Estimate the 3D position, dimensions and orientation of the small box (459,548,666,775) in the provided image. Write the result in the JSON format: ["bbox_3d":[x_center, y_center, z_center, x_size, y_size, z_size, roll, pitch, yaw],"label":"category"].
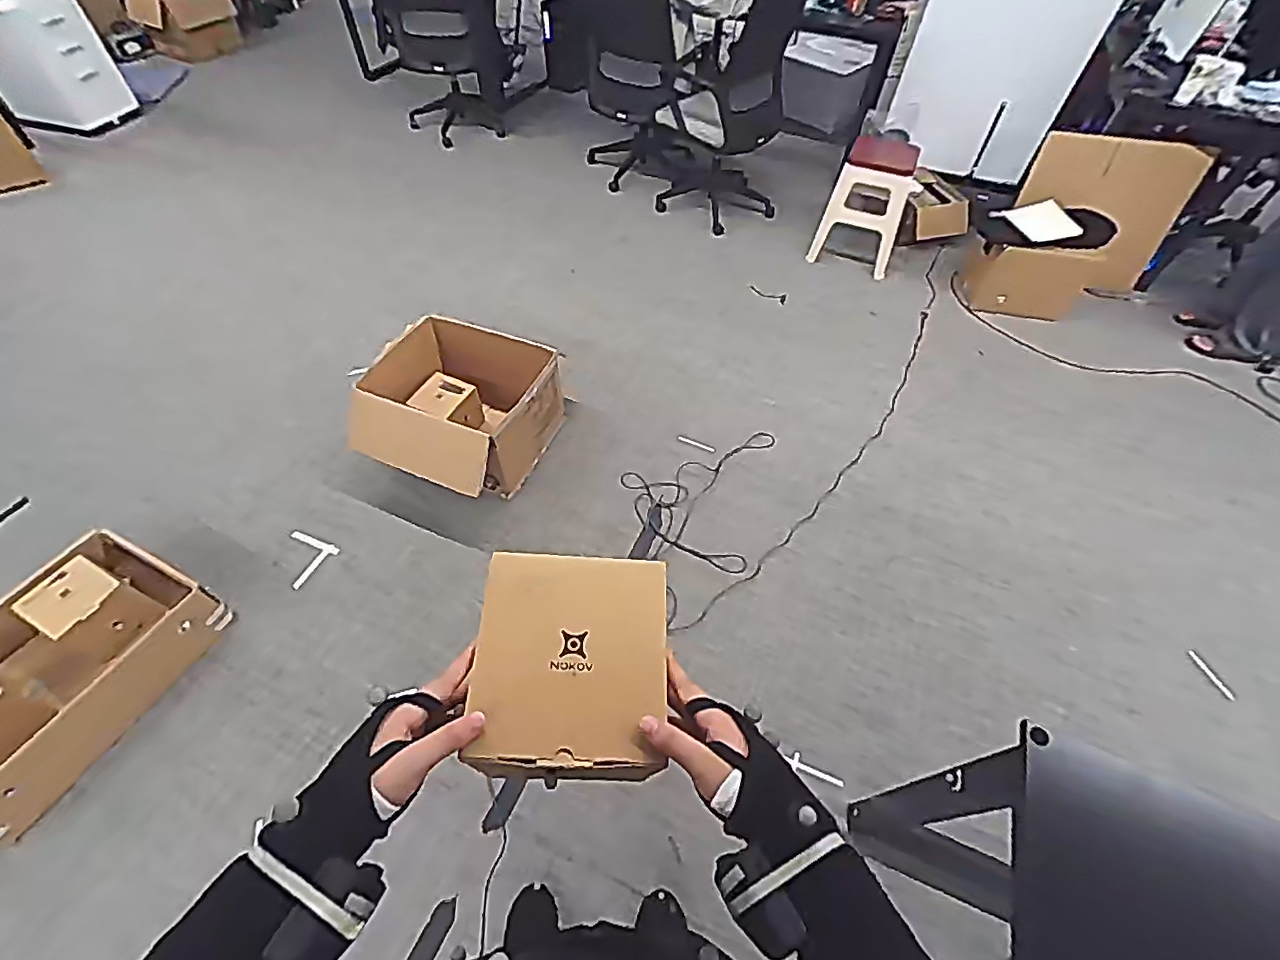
[{"bbox_3d":[-0.067,0.185,0.535,0.168,0.176,0.179,4,58,-5],"label":"small box"}]

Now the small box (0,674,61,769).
[{"bbox_3d":[-1.514,0.552,1.230,0.168,0.176,0.179,23,54,12],"label":"small box"}]

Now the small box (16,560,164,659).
[{"bbox_3d":[-1.401,0.341,1.395,0.179,0.176,0.168,25,57,14],"label":"small box"}]
